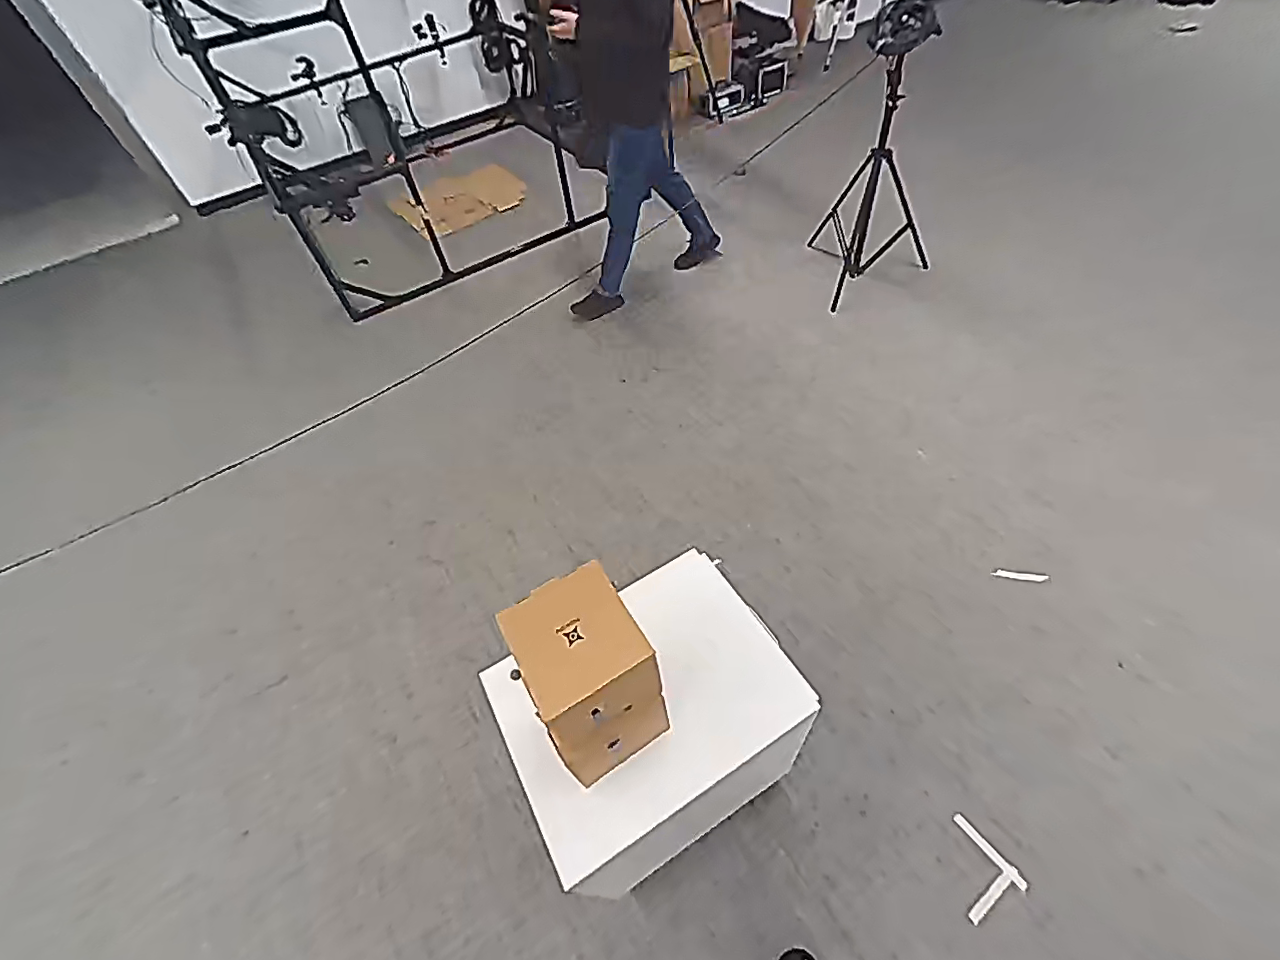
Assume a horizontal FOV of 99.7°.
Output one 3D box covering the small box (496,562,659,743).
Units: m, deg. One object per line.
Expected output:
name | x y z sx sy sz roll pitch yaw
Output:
small box | -0.085 0.263 0.802 0.168 0.176 0.179 -28 52 -15

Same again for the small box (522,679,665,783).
small box | -0.072 0.378 0.917 0.179 0.176 0.168 -29 53 -17
